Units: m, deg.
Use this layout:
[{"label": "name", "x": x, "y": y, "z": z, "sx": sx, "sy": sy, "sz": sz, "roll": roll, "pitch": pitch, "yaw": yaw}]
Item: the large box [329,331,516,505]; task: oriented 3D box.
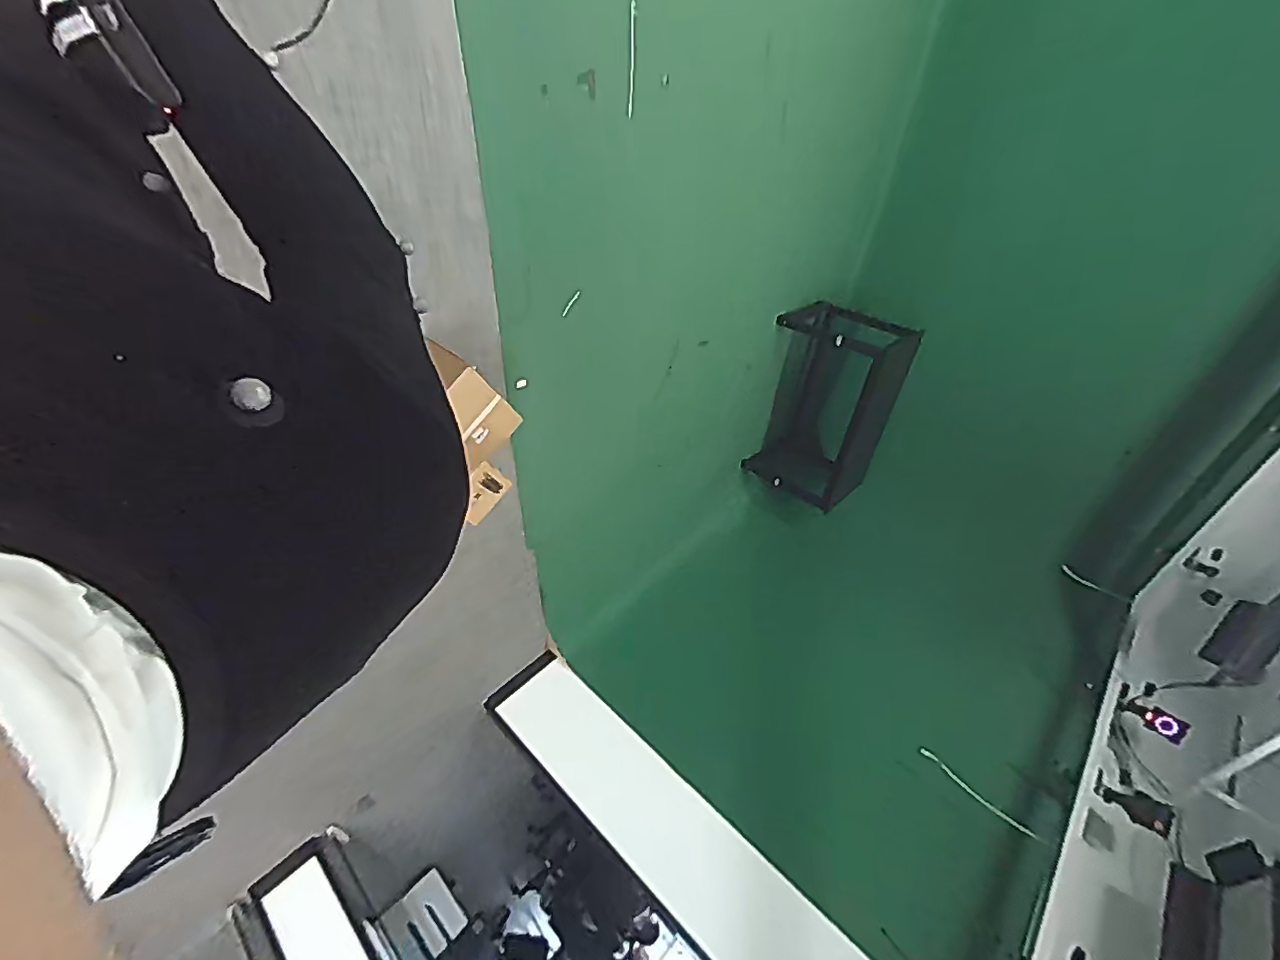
[{"label": "large box", "x": -0.695, "y": -0.198, "z": 1.751, "sx": 0.408, "sy": 0.320, "sz": 0.320, "roll": -53, "pitch": 150, "yaw": -9}]
